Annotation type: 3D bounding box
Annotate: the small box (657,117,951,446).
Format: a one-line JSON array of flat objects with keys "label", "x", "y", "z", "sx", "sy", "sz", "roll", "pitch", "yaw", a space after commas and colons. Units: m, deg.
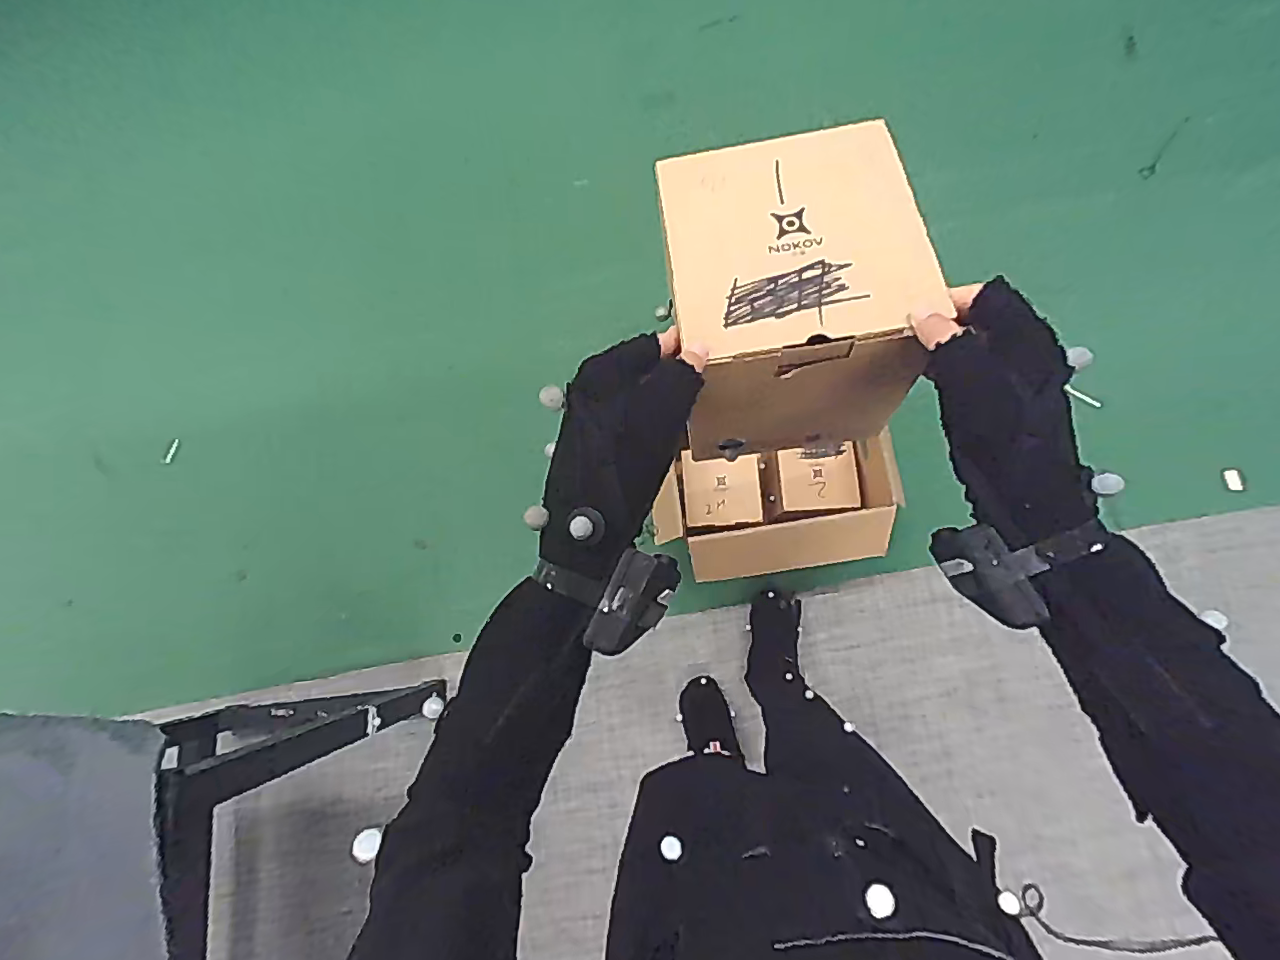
[{"label": "small box", "x": 0.110, "y": -0.137, "z": 0.431, "sx": 0.168, "sy": 0.176, "sz": 0.179, "roll": -7, "pitch": 69, "yaw": 5}]
